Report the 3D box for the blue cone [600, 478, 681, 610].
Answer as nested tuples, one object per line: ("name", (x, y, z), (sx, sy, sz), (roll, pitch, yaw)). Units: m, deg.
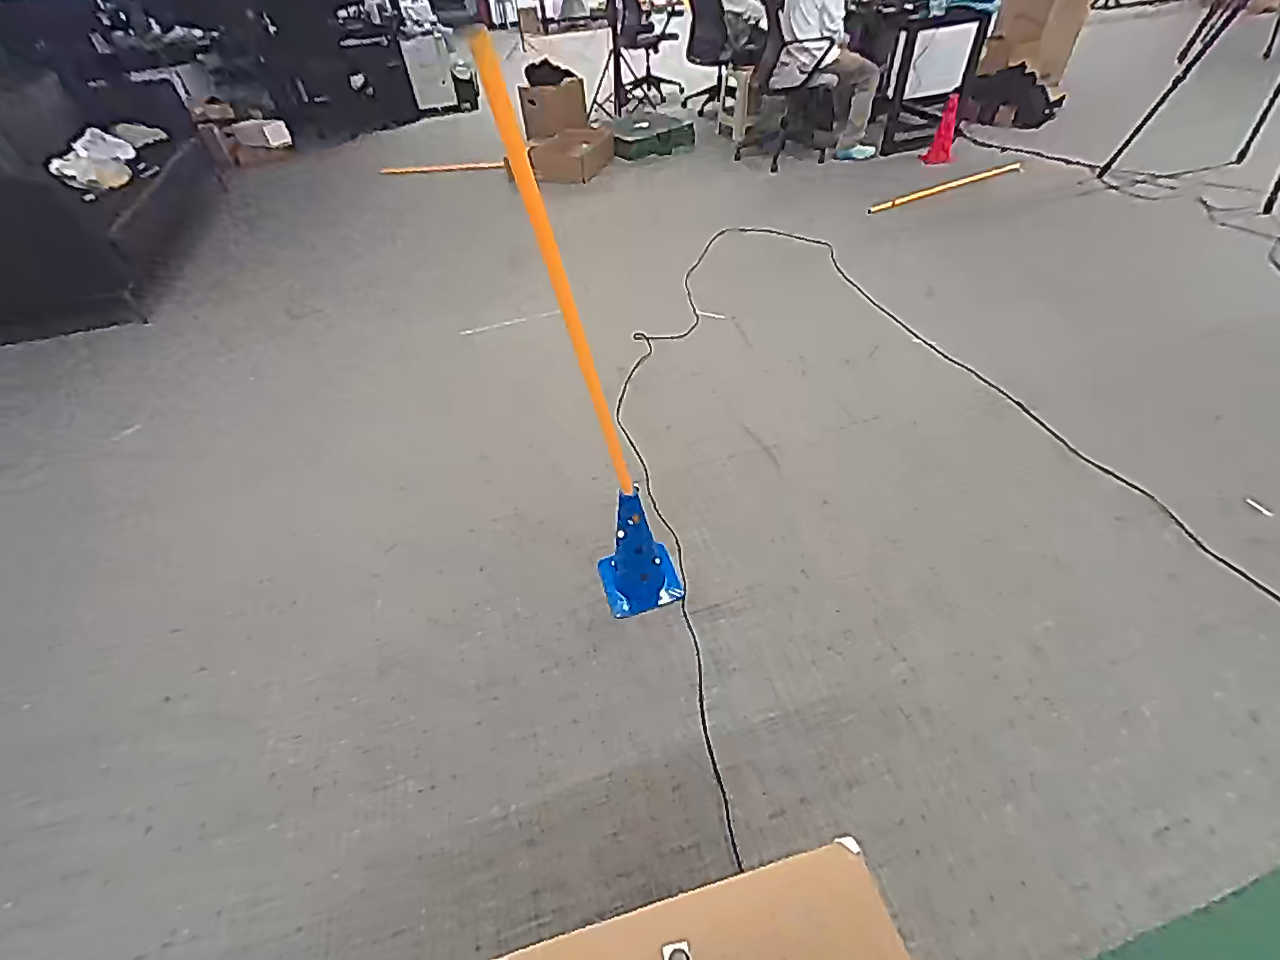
("blue cone", (-0.014, 0.143, 1.347), (0.193, 0.380, 0.192), (-18, 47, -10))
